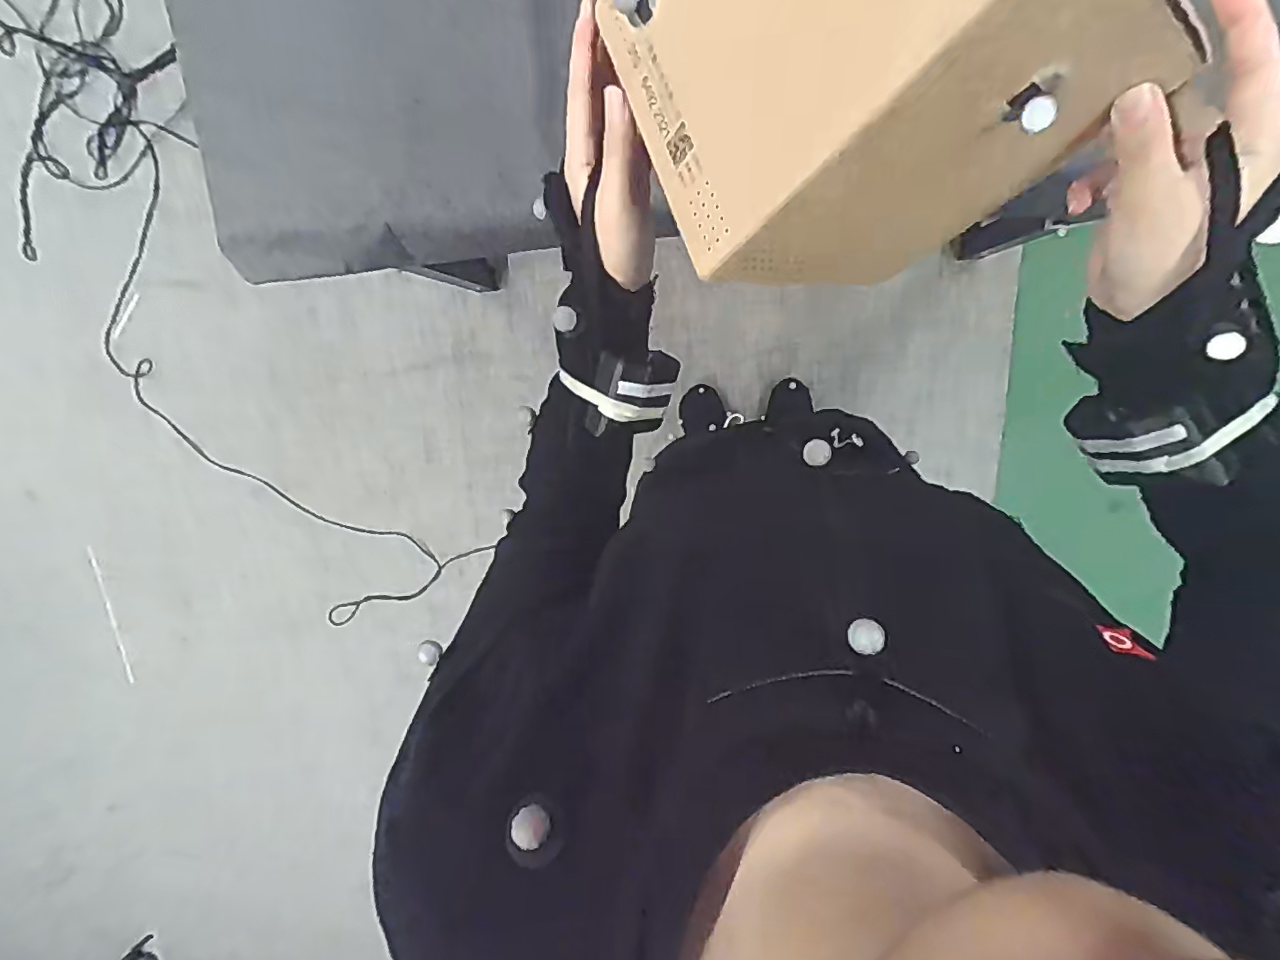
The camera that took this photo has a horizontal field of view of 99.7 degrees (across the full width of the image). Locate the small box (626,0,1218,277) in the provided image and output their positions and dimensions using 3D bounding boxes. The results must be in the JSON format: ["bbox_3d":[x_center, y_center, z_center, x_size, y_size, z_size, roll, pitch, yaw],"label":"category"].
[{"bbox_3d":[0.113,-0.218,0.261,0.176,0.179,0.168,-30,77,53],"label":"small box"}]
